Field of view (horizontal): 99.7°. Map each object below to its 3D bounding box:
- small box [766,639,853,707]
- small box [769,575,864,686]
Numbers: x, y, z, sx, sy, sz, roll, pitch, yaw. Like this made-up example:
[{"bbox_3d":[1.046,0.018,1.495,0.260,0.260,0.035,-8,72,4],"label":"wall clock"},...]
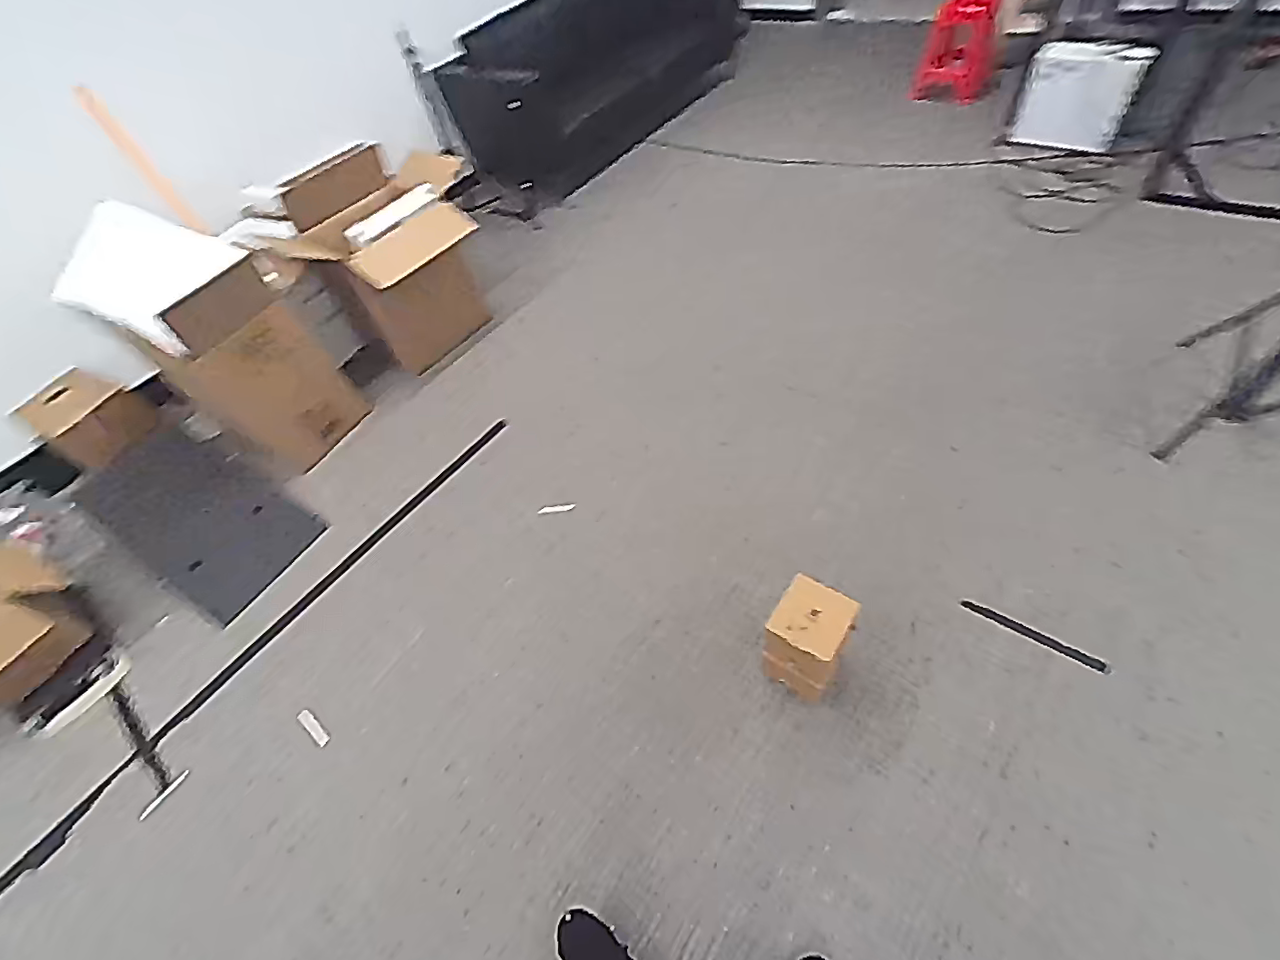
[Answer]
[{"bbox_3d":[0.455,0.481,1.473,0.168,0.176,0.179,27,62,29],"label":"small box"},{"bbox_3d":[0.433,0.376,1.348,0.168,0.176,0.179,27,63,30],"label":"small box"}]
